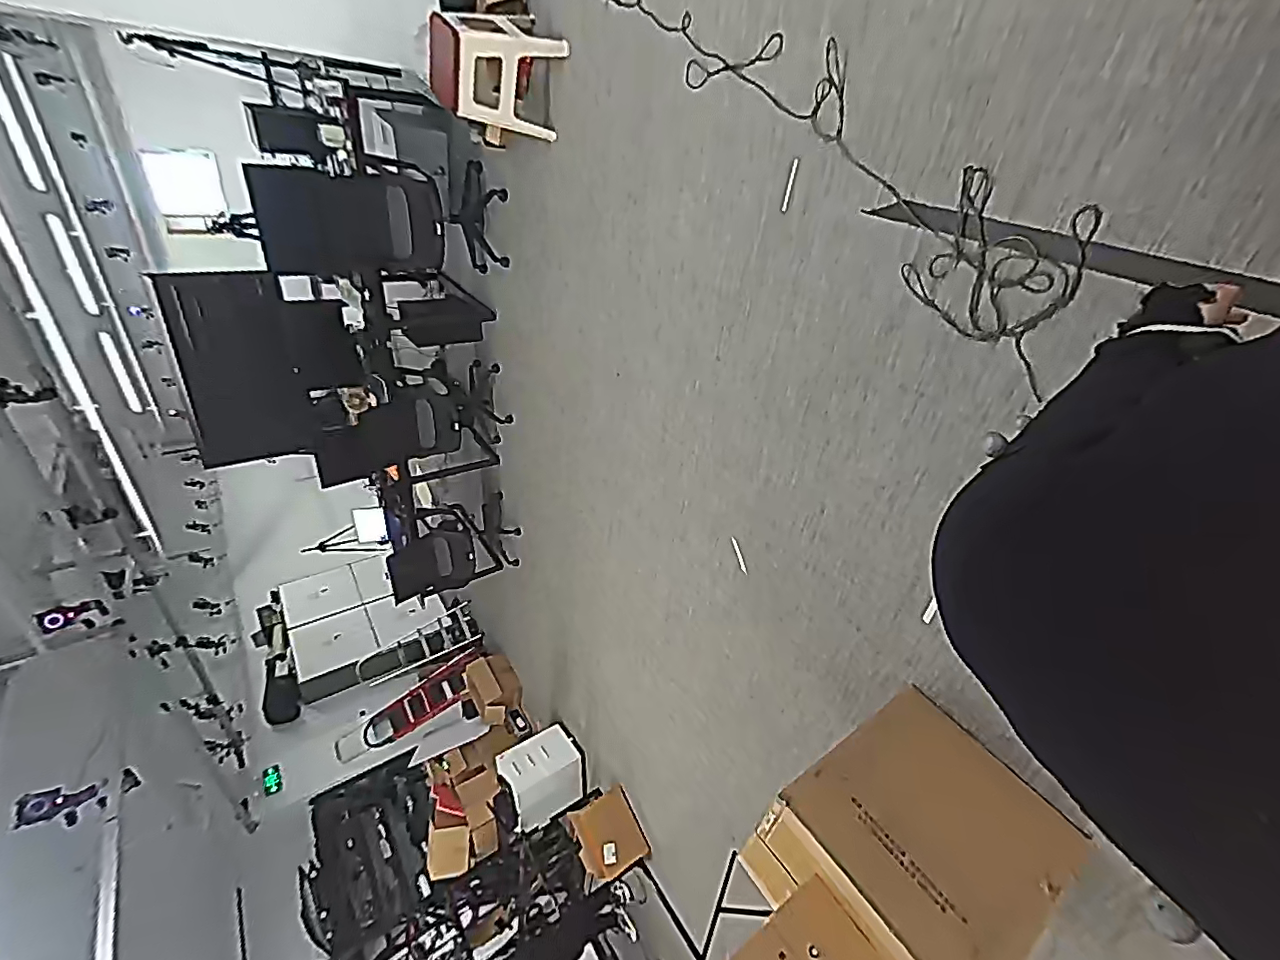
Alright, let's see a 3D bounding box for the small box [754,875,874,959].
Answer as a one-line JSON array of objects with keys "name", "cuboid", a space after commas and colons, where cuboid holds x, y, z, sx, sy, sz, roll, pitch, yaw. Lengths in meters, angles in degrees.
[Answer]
[{"name": "small box", "cuboid": [0.397, 1.066, 1.240, 0.179, 0.176, 0.168, 44, 137, 40]}]
